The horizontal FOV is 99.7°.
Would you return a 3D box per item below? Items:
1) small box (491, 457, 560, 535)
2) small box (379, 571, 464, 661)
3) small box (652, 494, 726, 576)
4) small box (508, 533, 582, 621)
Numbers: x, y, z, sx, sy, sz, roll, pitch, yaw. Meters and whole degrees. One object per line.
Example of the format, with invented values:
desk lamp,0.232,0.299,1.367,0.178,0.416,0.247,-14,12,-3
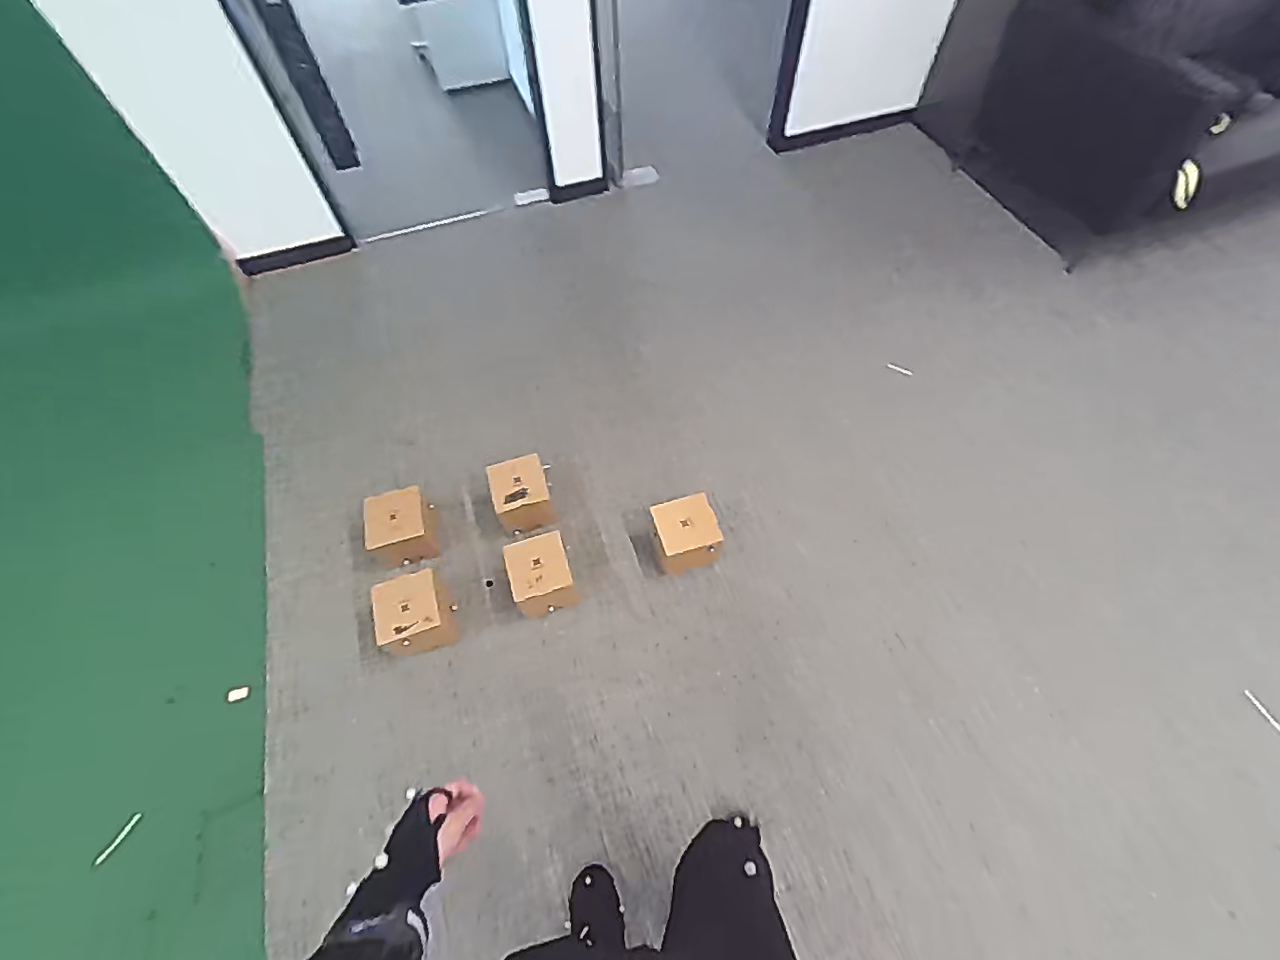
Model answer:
small box,-0.359,0.059,1.711,0.168,0.176,0.179,-16,60,-8
small box,-0.613,0.387,1.526,0.168,0.176,0.179,-18,59,-8
small box,0.142,0.171,1.629,0.179,0.176,0.168,-16,60,-8
small box,-0.273,0.285,1.574,0.168,0.176,0.179,-17,60,-7
